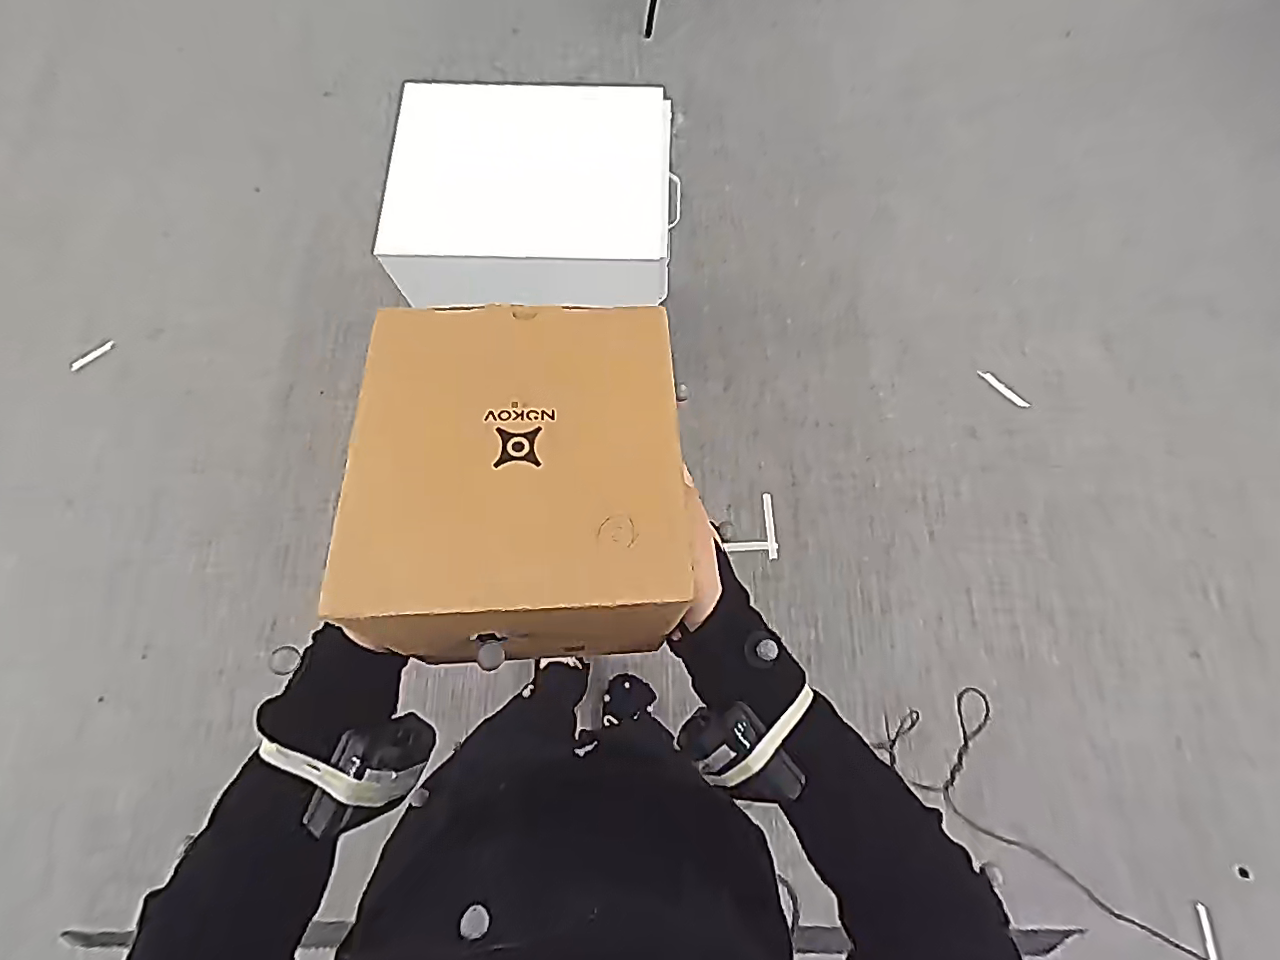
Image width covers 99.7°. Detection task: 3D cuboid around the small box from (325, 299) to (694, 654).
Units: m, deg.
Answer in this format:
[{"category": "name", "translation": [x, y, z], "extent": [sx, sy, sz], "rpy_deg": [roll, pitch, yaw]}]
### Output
[{"category": "small box", "translation": [-0.064, 0.011, 0.344], "extent": [0.168, 0.176, 0.179], "rpy_deg": [-2, 64, -5]}]
